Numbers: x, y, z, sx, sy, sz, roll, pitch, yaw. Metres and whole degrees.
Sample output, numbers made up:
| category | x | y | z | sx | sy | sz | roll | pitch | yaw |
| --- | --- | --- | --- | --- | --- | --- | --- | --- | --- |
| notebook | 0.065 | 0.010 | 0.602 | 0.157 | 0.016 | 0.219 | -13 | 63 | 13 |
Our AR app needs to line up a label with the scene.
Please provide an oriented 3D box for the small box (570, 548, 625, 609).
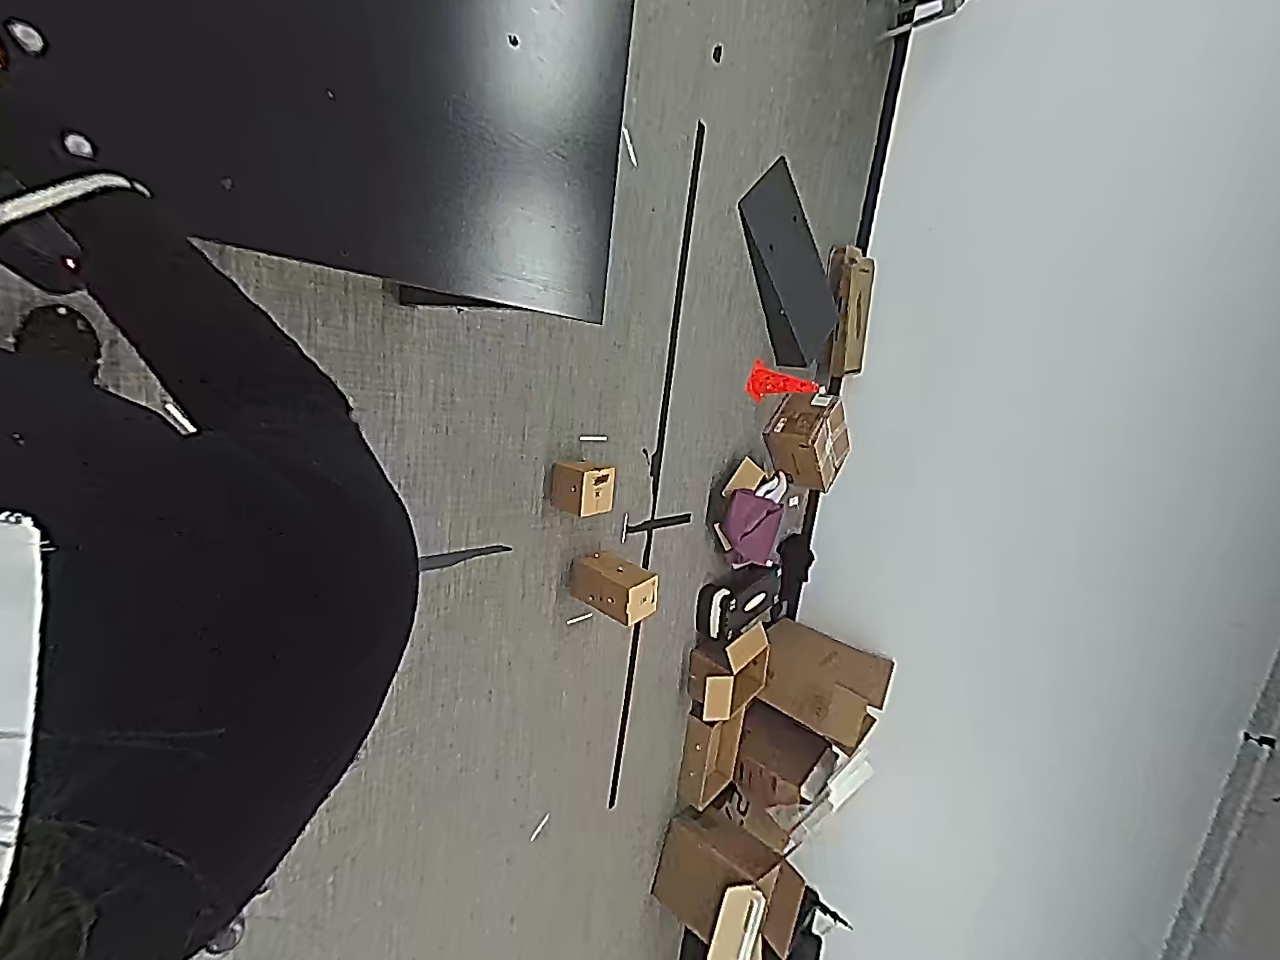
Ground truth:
| category | x | y | z | sx | sy | sz | roll | pitch | yaw |
| --- | --- | --- | --- | --- | --- | --- | --- | --- | --- |
| small box | -0.182 | 0.409 | 2.272 | 0.168 | 0.176 | 0.179 | -14 | 114 | -48 |

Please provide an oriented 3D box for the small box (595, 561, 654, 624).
| category | x | y | z | sx | sy | sz | roll | pitch | yaw |
| --- | --- | --- | --- | --- | --- | --- | --- | --- | --- |
| small box | -0.064 | 0.444 | 2.164 | 0.179 | 0.176 | 0.168 | -16 | 115 | -47 |

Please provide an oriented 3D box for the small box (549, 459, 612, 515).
| category | x | y | z | sx | sy | sz | roll | pitch | yaw |
| --- | --- | --- | --- | --- | --- | --- | --- | --- | --- |
| small box | -0.230 | 0.019 | 2.068 | 0.168 | 0.176 | 0.179 | -10 | 111 | -49 |
